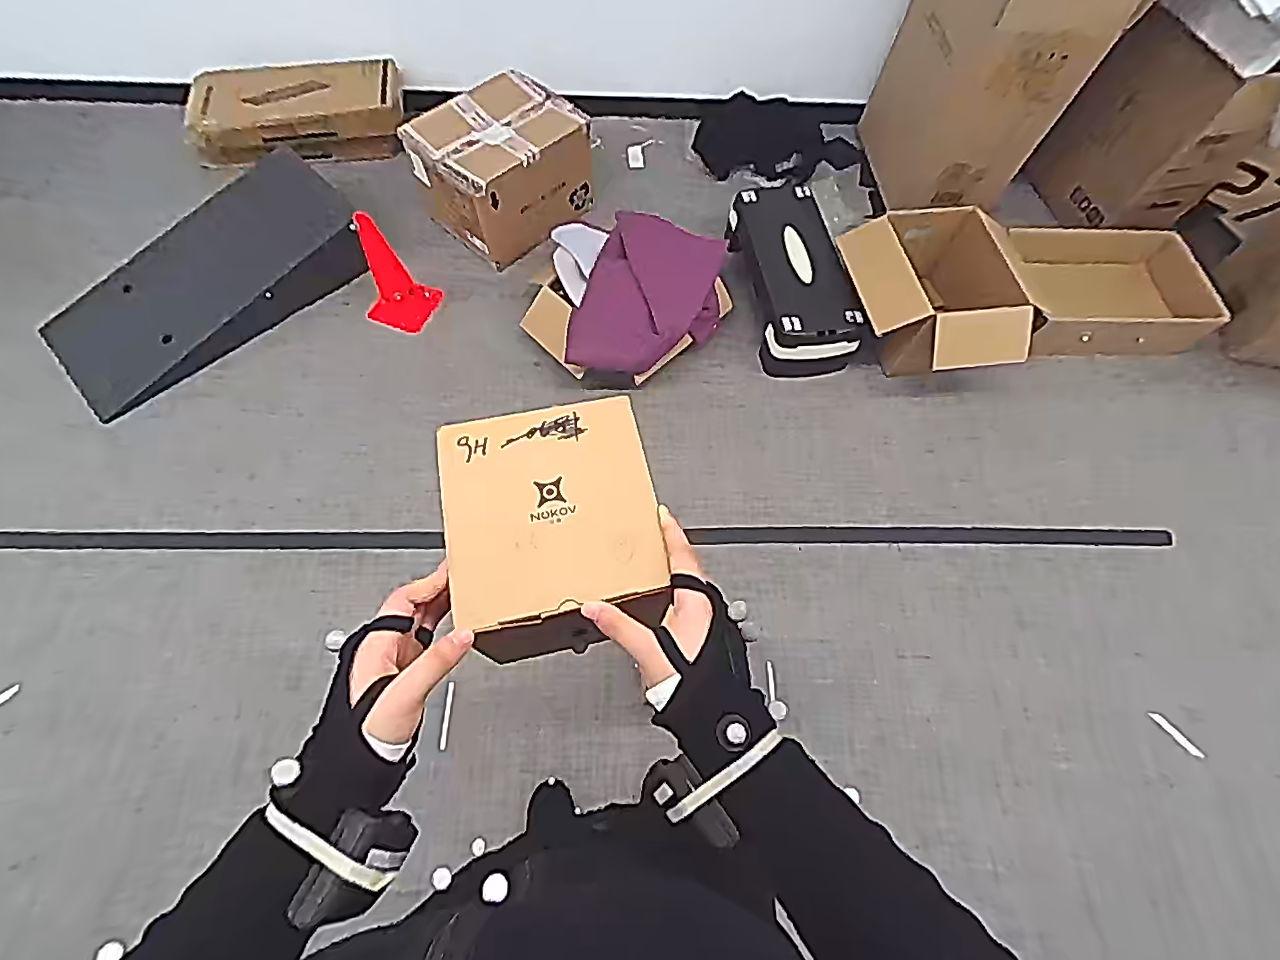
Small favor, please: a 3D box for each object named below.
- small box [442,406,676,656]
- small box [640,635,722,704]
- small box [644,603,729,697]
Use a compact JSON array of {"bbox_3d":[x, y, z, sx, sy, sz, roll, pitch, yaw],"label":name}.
[{"bbox_3d":[-0.071,0.059,0.503,0.168,0.176,0.179,-11,67,-8],"label":"small box"},{"bbox_3d":[0.091,0.449,1.307,0.179,0.176,0.168,0,65,-3],"label":"small box"},{"bbox_3d":[0.093,0.369,1.164,0.168,0.176,0.179,1,66,-1],"label":"small box"}]
